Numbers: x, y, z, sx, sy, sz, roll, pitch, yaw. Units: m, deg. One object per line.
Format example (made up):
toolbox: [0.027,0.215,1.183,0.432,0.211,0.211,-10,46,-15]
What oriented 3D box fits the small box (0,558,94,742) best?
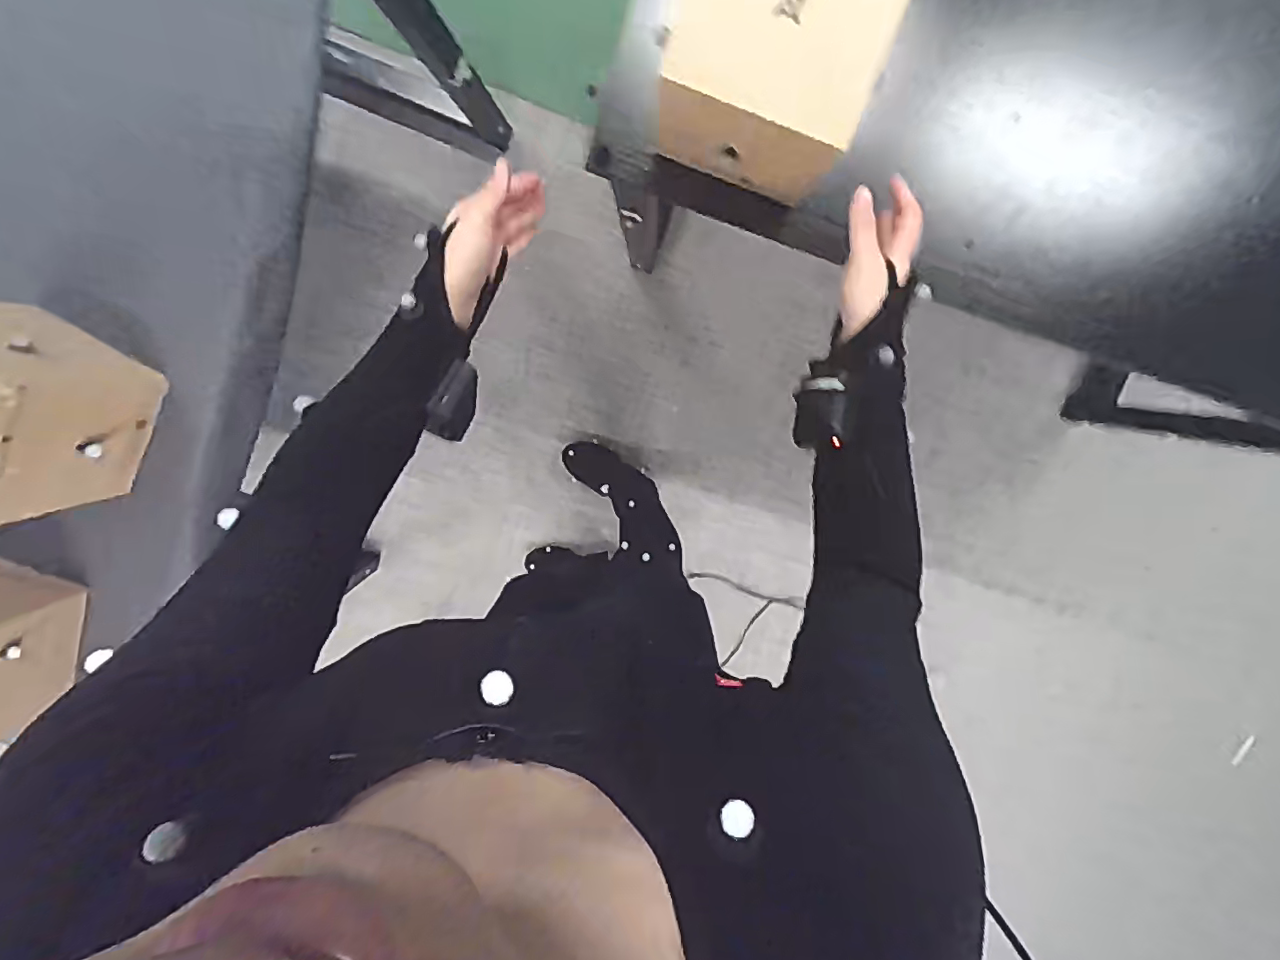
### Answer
small box: [-0.828,0.213,0.656,0.168,0.176,0.179,20,103,-1]

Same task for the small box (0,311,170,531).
small box: [-0.675,-0.075,0.586,0.179,0.176,0.168,29,102,-5]

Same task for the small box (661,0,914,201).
small box: [0.125,-0.385,0.493,0.168,0.176,0.179,19,103,-4]
